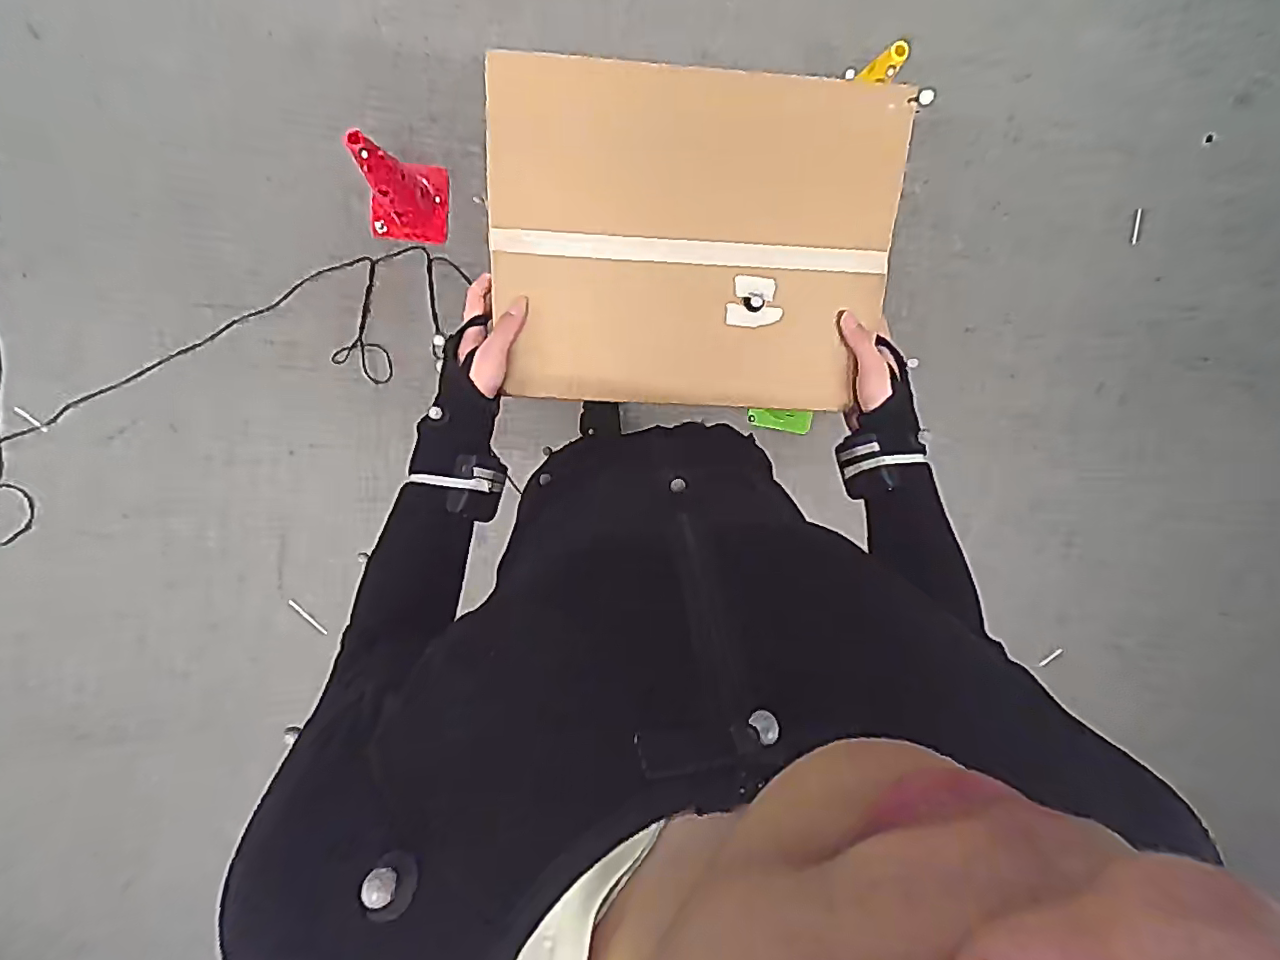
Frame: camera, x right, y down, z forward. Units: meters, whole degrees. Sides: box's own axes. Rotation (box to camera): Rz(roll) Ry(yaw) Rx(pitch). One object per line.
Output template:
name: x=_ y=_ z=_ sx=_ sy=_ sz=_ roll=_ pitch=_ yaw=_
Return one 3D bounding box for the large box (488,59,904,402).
large box: x=0.043 y=-0.282 z=0.694 sx=0.408 sy=0.320 sz=0.320 roll=1 pitch=109 yaw=-4

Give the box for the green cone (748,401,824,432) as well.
green cone: x=0.454 y=-0.236 z=1.463 sx=0.200 sy=0.368 sz=0.202 roll=8 pitch=95 yaw=-7
